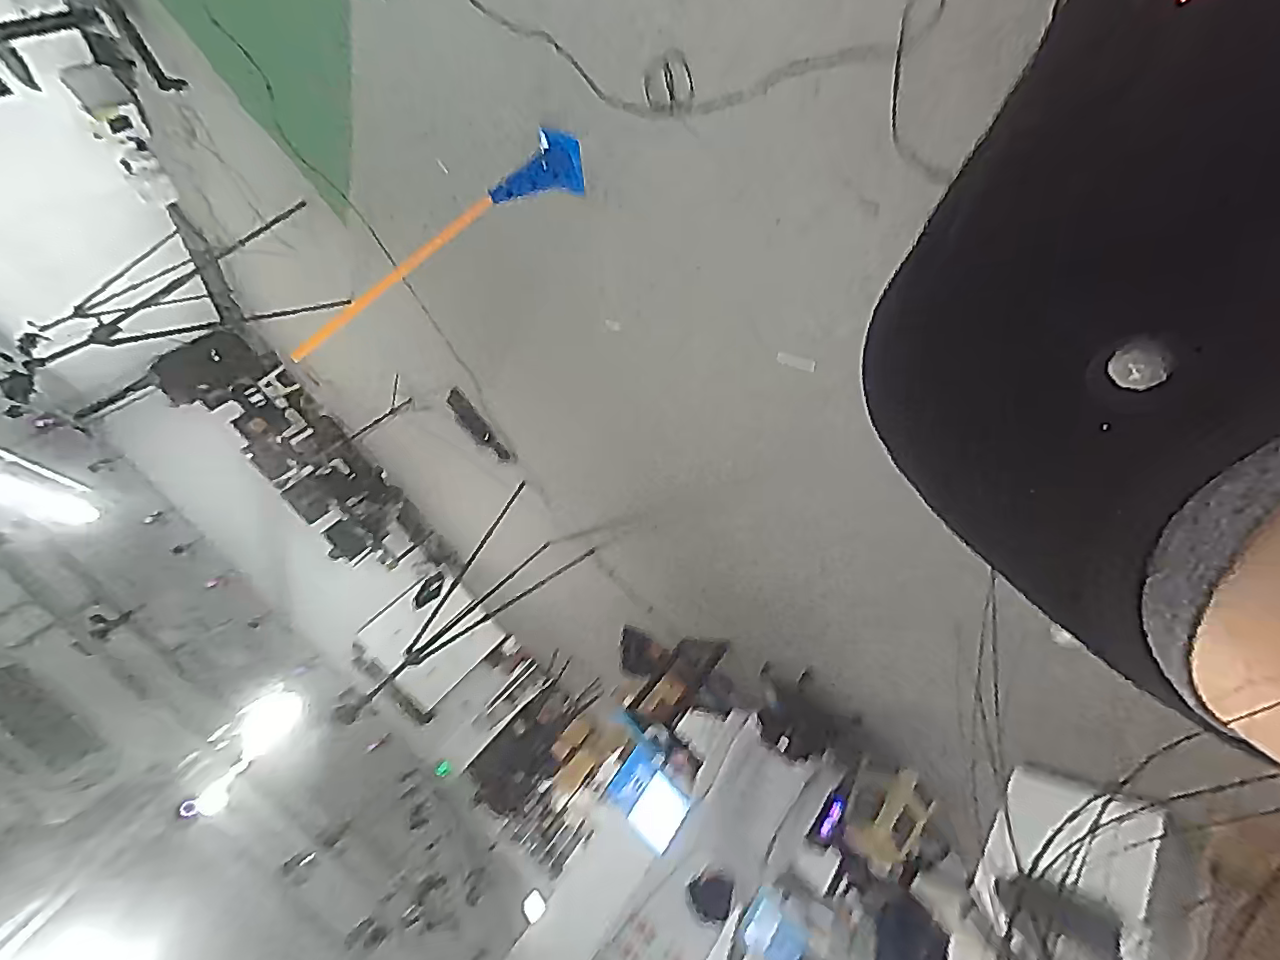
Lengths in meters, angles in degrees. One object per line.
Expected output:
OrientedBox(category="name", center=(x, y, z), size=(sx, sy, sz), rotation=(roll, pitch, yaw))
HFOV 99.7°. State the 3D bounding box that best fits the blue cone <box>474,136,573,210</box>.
OrientedBox(category="blue cone", center=(-0.424, -1.041, 1.899), size=(0.192, 0.380, 0.193), rotation=(29, 149, 26))
